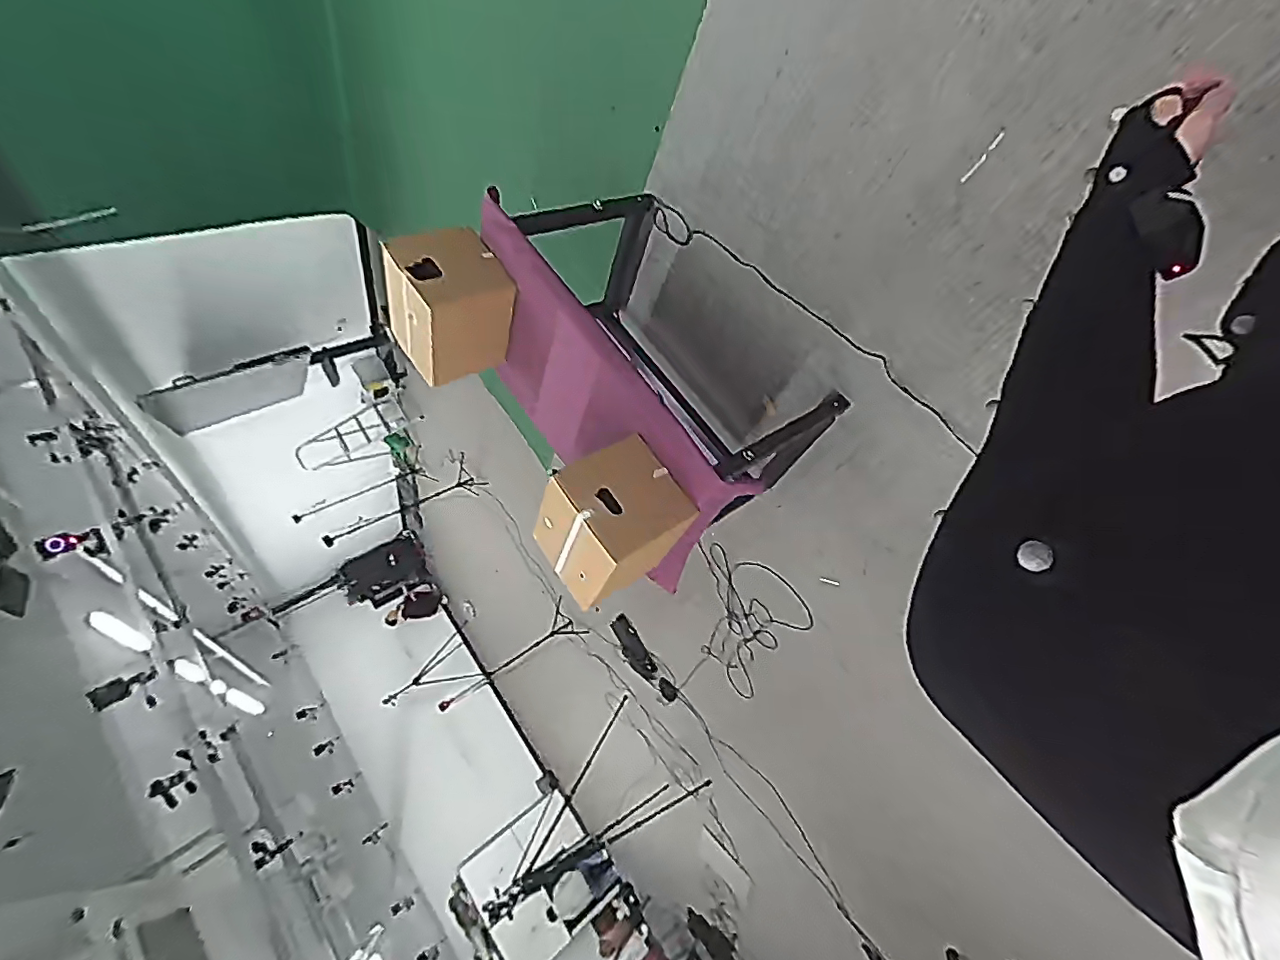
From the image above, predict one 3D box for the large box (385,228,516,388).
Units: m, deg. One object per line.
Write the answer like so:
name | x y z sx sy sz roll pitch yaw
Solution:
large box | -0.666 -0.605 1.915 0.320 0.320 0.408 51 147 13
